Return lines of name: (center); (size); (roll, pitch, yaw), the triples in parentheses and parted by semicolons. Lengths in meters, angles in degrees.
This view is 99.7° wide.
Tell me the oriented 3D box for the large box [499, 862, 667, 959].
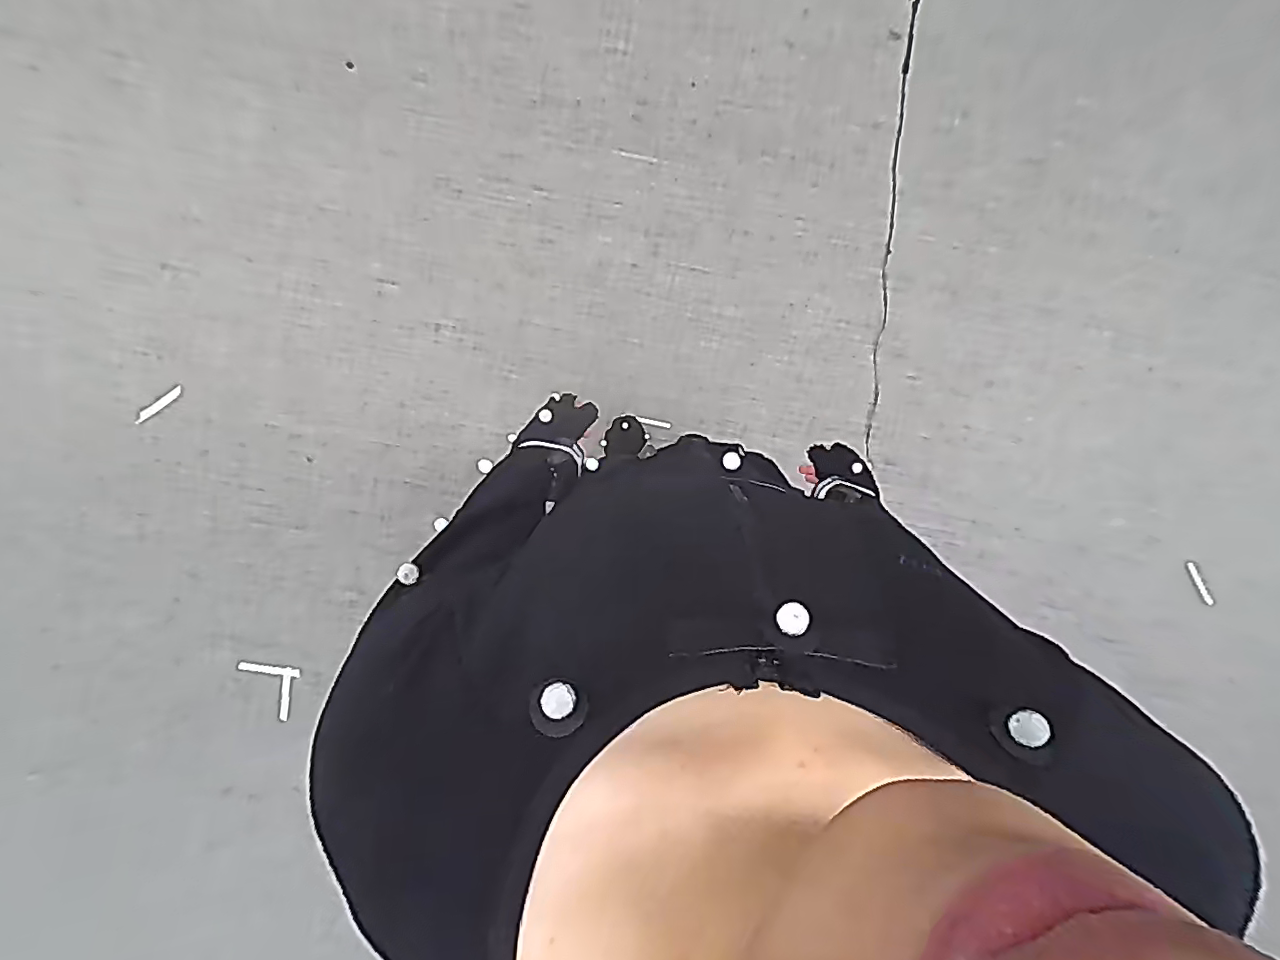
large box: (-0.170, 1.349, 1.467); (0.408, 0.320, 0.320); (25, 94, -3)
